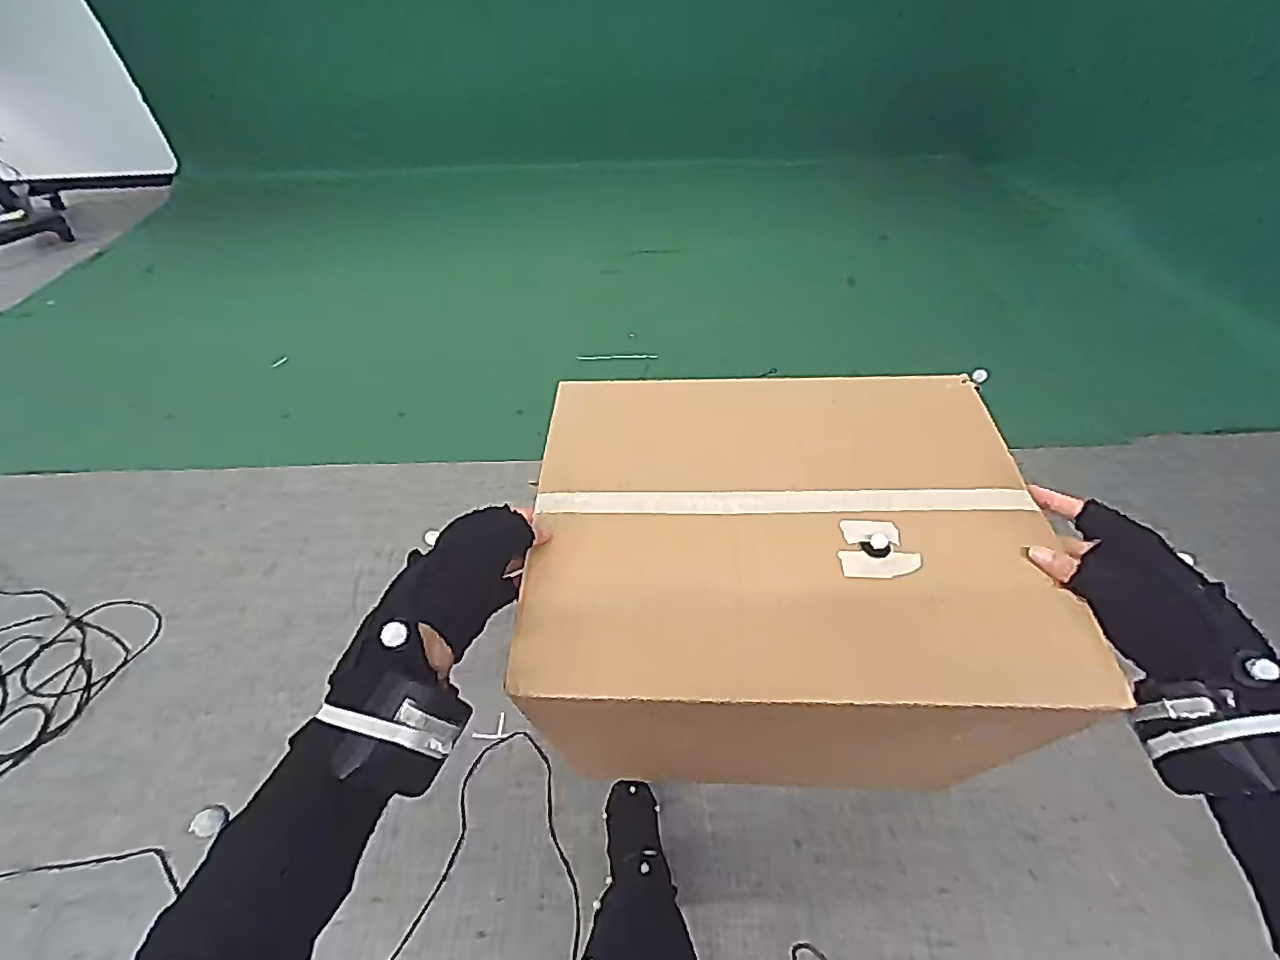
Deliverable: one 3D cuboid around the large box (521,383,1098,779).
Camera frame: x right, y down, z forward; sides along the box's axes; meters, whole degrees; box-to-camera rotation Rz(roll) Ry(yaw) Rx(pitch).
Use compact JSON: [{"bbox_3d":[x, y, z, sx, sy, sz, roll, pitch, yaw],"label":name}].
[{"bbox_3d":[0.121,0.119,0.578,0.408,0.320,0.320,-1,52,4],"label":"large box"}]
